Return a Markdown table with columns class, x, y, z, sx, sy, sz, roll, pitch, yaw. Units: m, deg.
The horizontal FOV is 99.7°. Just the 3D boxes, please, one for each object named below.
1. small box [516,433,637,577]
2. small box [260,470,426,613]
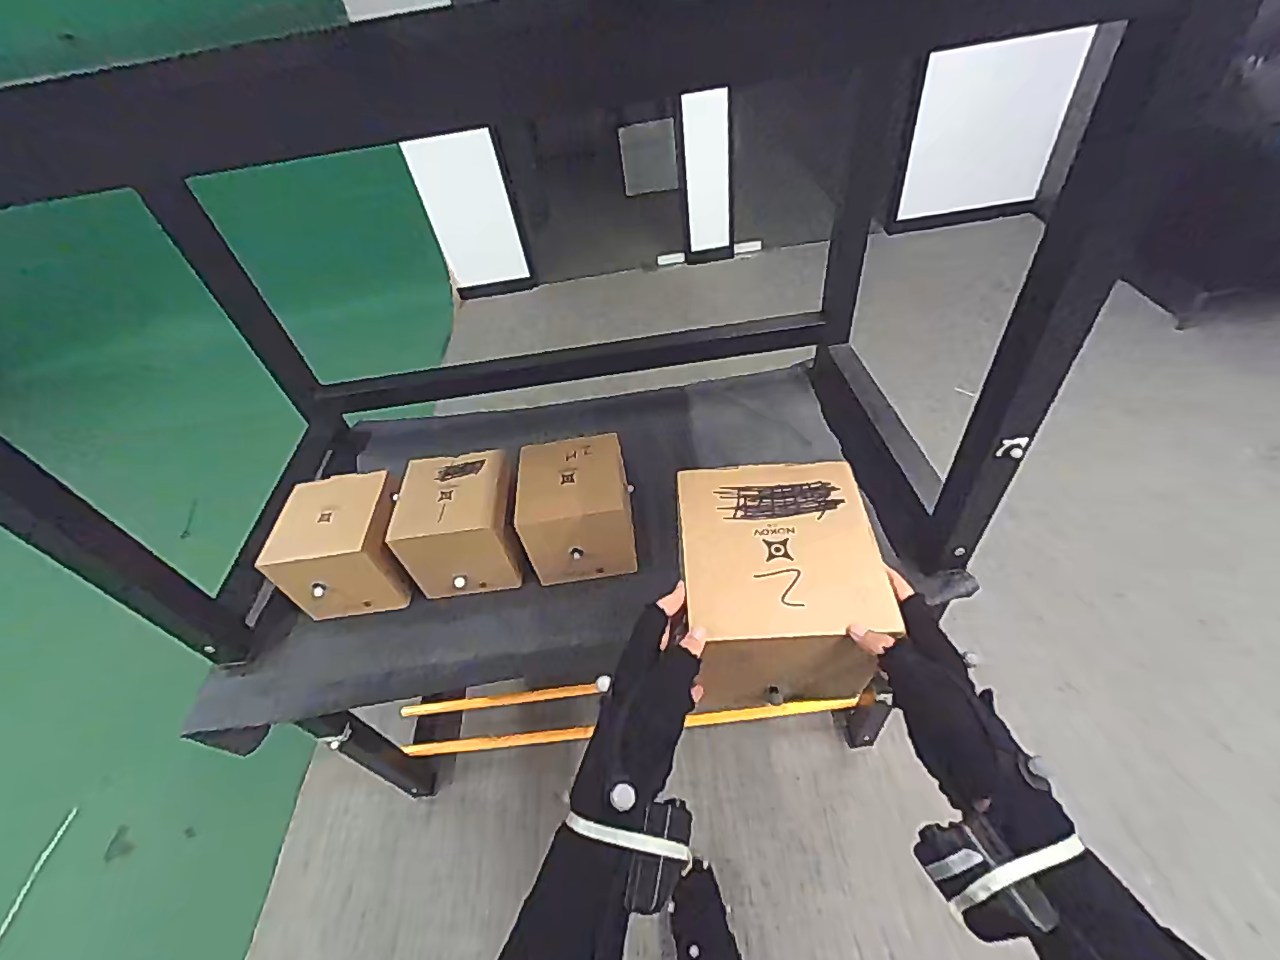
| class | x | y | z | sx | sy | sz | roll | pitch | yaw |
| --- | --- | --- | --- | --- | --- | --- | --- | --- | --- |
| small box | -0.100 | 0.048 | 0.906 | 0.168 | 0.176 | 0.179 | -8 | 45 | 2 |
| small box | -0.485 | 0.110 | 0.917 | 0.168 | 0.176 | 0.179 | -8 | 45 | 2 |
